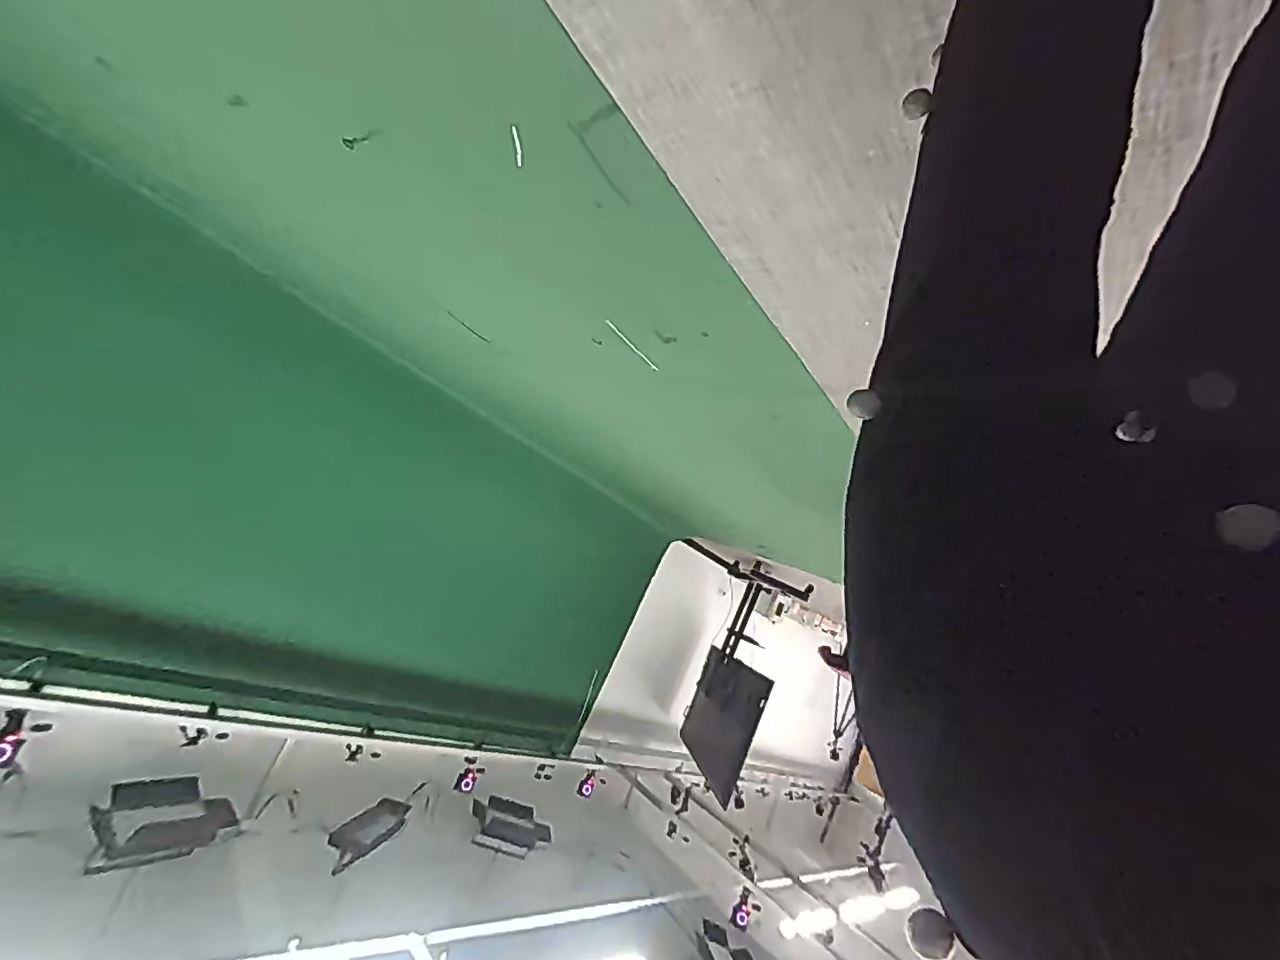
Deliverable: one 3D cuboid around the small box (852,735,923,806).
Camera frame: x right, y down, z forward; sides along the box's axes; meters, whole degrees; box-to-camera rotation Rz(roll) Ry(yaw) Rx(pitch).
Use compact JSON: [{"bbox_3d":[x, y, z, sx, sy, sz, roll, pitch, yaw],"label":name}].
[{"bbox_3d":[0.903,1.051,1.961,0.168,0.176,0.179,14,164,47],"label":"small box"}]
